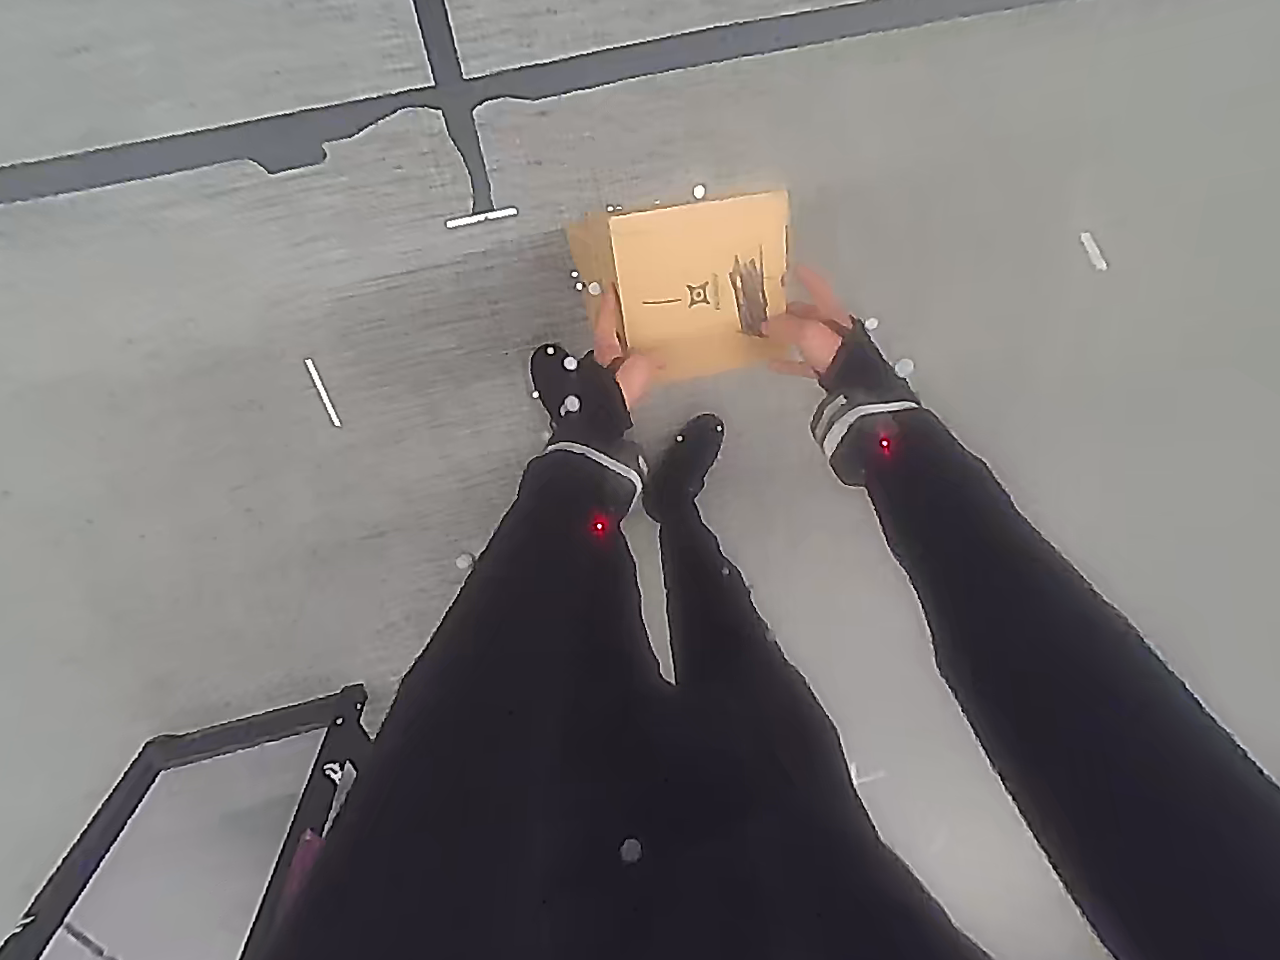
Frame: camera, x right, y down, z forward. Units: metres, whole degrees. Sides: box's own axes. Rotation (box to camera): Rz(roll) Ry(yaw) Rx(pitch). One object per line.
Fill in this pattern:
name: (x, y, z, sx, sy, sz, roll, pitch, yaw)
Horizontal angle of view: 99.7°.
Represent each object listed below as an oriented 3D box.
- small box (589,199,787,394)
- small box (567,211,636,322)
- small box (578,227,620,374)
small box: (0.048, -0.213, 0.604, 0.179, 0.176, 0.168, -12, 118, -6)
small box: (-0.039, -0.413, 1.046, 0.168, 0.176, 0.179, -16, 120, -3)
small box: (0.015, -0.269, 0.757, 0.168, 0.176, 0.179, -14, 119, -5)
